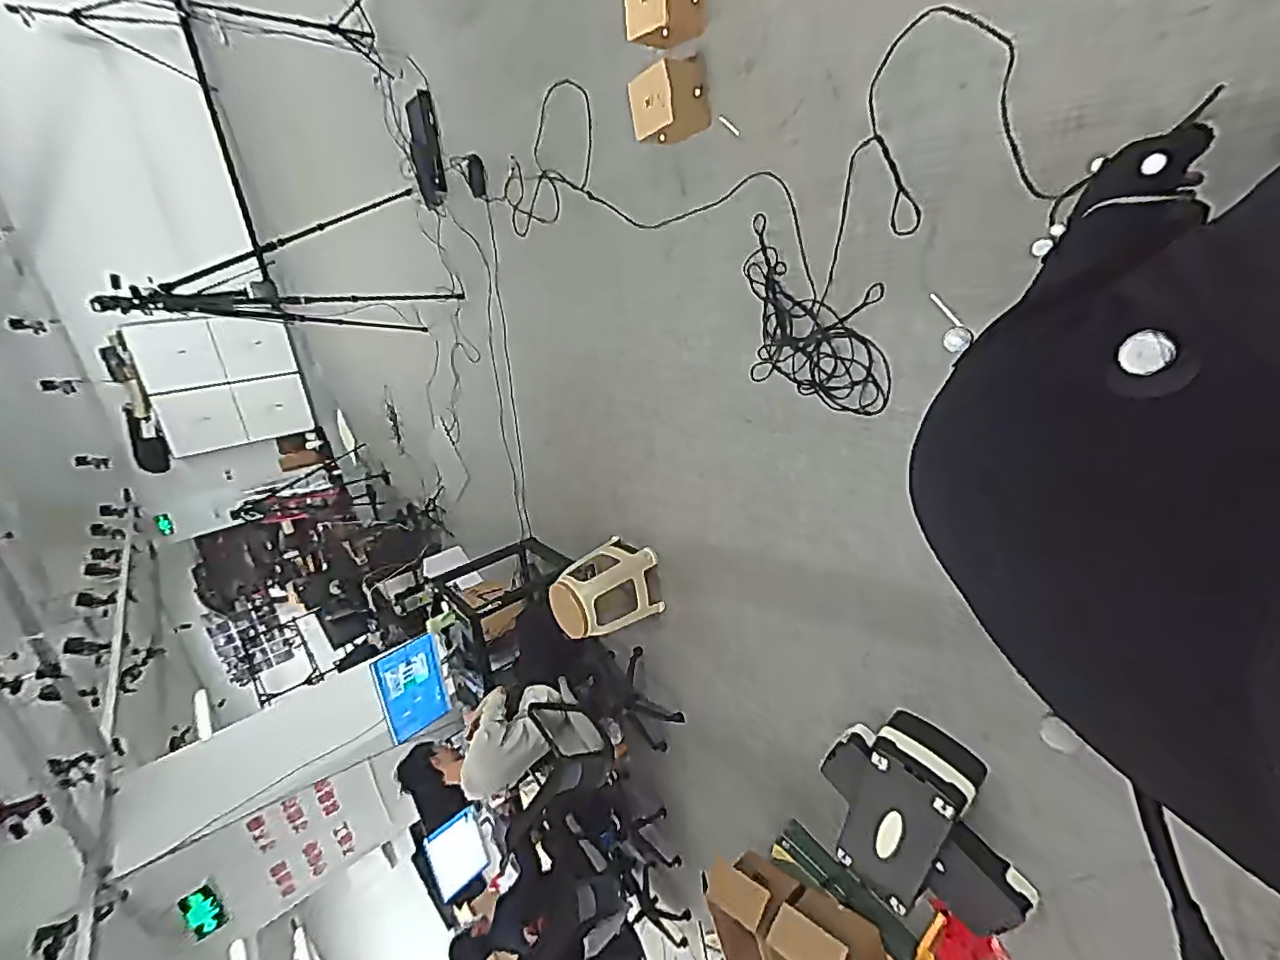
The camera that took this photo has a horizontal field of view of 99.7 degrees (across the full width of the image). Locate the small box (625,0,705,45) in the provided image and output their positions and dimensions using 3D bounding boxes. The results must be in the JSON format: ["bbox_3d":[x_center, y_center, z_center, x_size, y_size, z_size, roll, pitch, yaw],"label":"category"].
[{"bbox_3d":[0.073,-1.413,1.588,0.179,0.176,0.168,19,123,45],"label":"small box"}]

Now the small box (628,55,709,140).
[{"bbox_3d":[0.091,-1.181,1.684,0.179,0.176,0.168,9,116,49],"label":"small box"}]
